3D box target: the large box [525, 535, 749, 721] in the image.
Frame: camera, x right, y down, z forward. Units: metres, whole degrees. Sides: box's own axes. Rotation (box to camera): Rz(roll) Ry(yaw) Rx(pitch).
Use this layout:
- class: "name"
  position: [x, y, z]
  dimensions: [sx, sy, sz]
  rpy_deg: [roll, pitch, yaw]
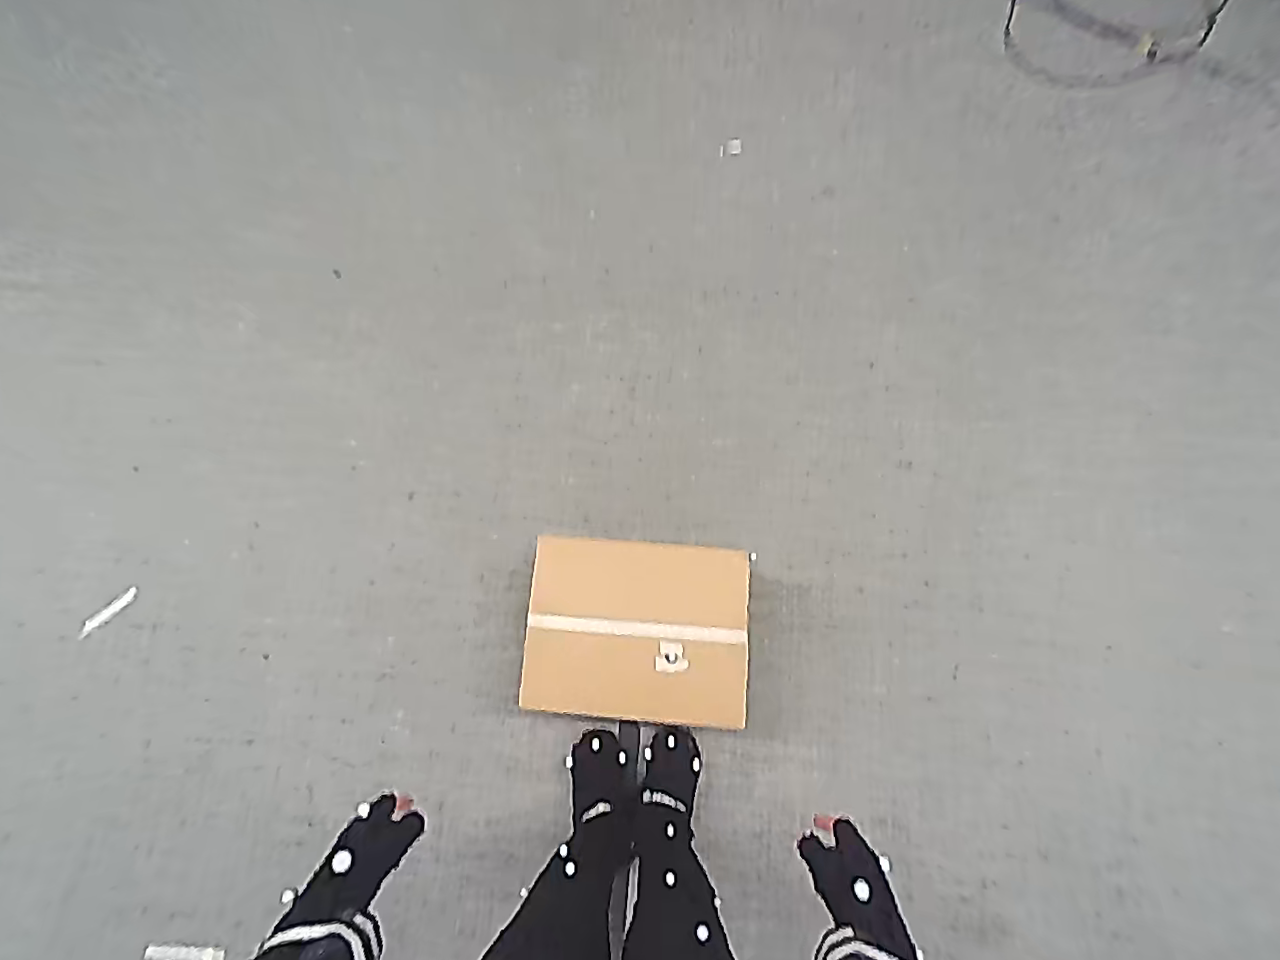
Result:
- class: "large box"
  position: [0.001, 0.300, 1.137]
  dimensions: [0.408, 0.320, 0.320]
  rpy_deg: [4, 78, 3]
